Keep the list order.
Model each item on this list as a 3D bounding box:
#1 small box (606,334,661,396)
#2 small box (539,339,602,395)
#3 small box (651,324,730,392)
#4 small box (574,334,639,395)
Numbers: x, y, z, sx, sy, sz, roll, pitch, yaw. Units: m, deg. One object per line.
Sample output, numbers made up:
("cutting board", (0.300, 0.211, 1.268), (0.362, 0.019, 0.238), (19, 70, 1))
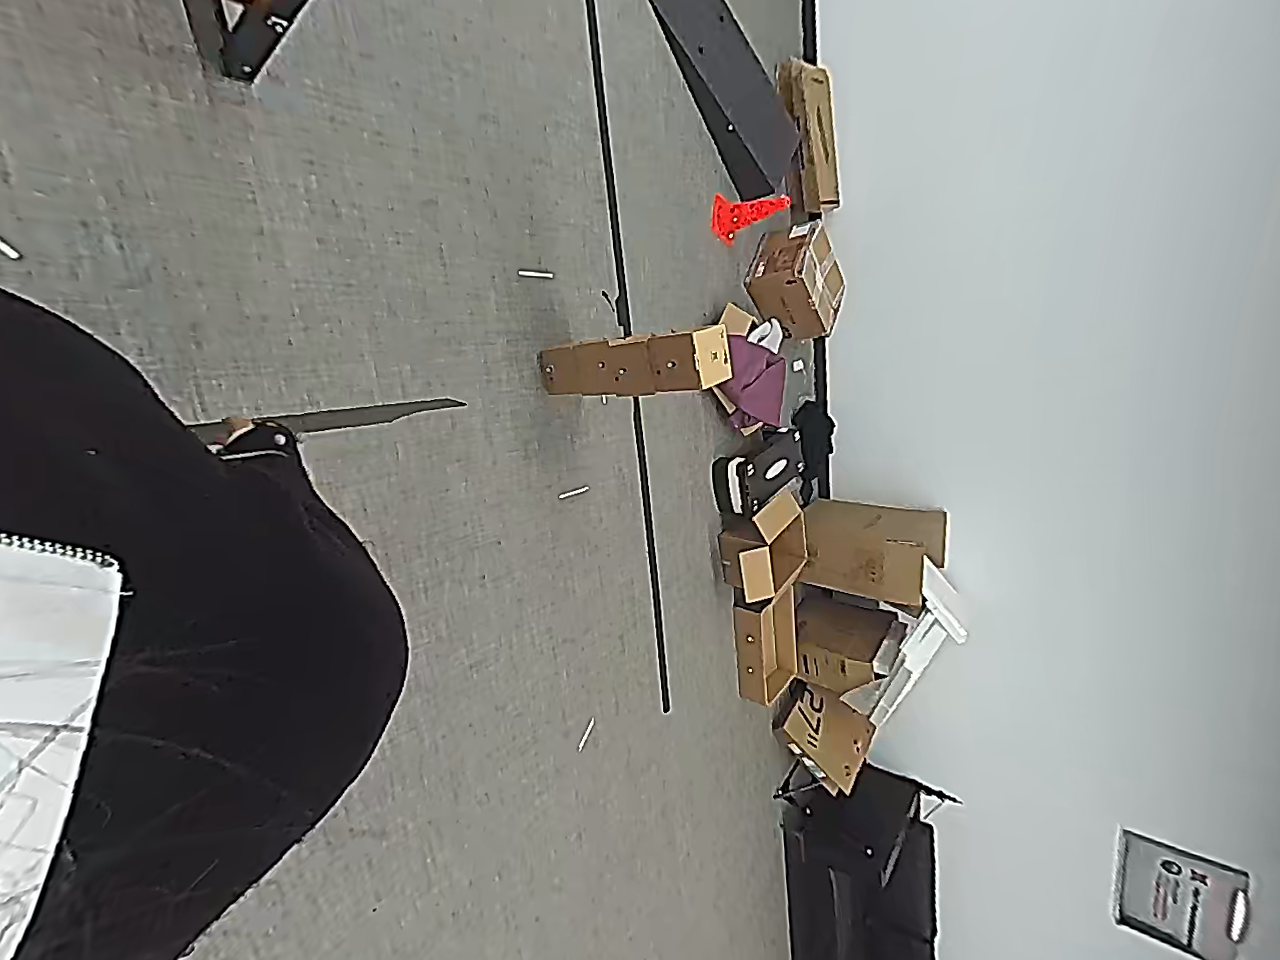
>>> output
("small box", (0.018, -0.372, 1.733), (0.179, 0.176, 0.168), (-30, 115, -44))
("small box", (-0.232, -0.407, 1.944), (0.179, 0.176, 0.168), (-28, 114, -43))
("small box", (0.147, -0.367, 1.631), (0.179, 0.176, 0.168), (-29, 114, -44))
("small box", (-0.105, -0.392, 1.841), (0.168, 0.176, 0.179), (-26, 113, -45))
